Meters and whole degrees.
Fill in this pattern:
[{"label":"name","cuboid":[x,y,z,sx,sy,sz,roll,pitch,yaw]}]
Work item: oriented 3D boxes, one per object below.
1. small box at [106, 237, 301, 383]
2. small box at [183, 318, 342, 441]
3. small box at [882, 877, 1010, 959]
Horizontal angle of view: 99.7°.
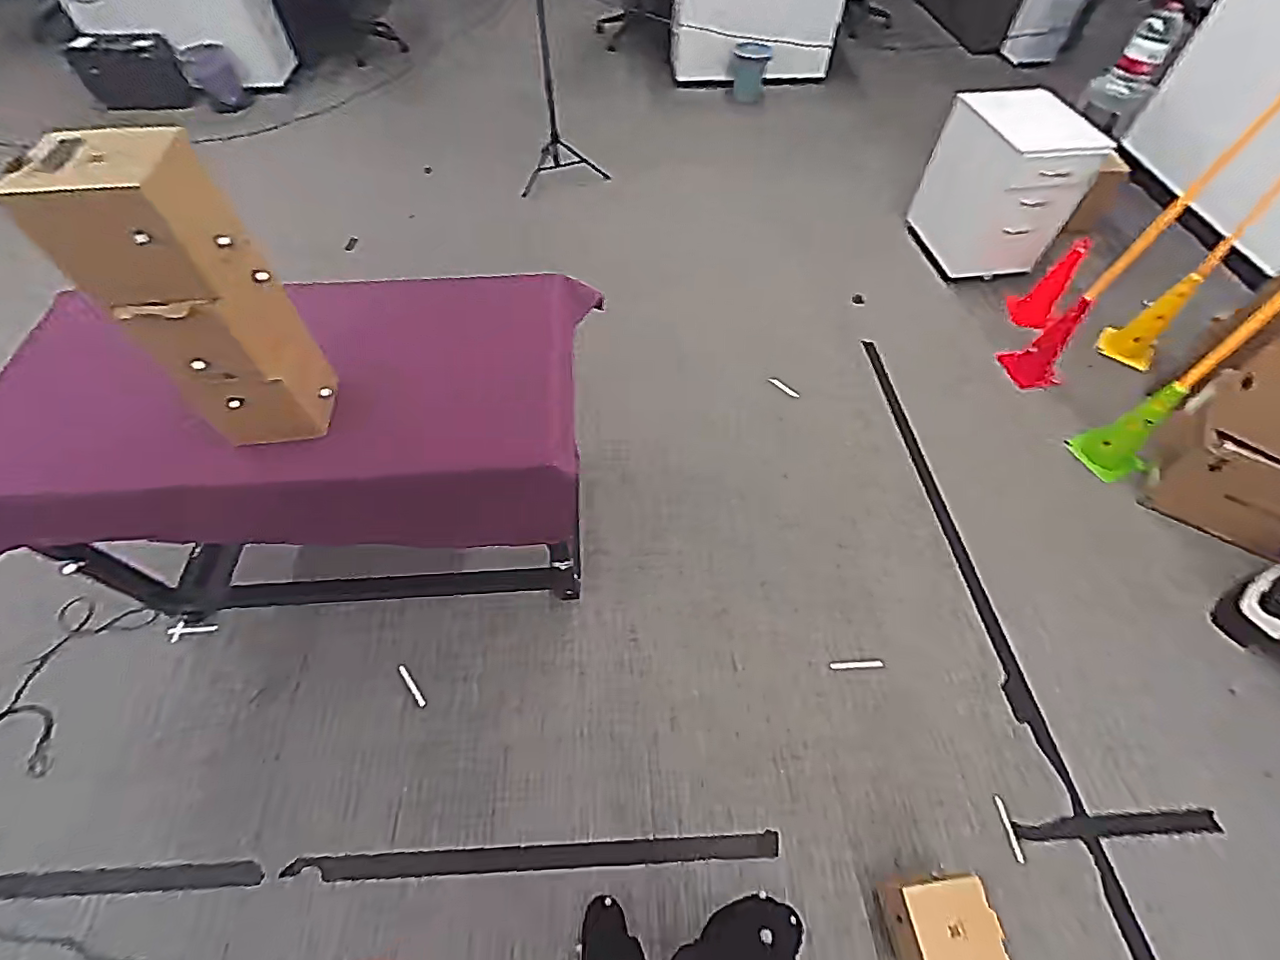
[{"label":"small box","cuboid":[-0.715,-0.287,0.916,0.168,0.176,0.179,-1,56,-1]},{"label":"small box","cuboid":[-0.716,-0.191,1.050,0.179,0.176,0.168,-5,56,-5]},{"label":"small box","cuboid":[0.647,0.970,1.165,0.179,0.176,0.168,-5,57,-4]}]
